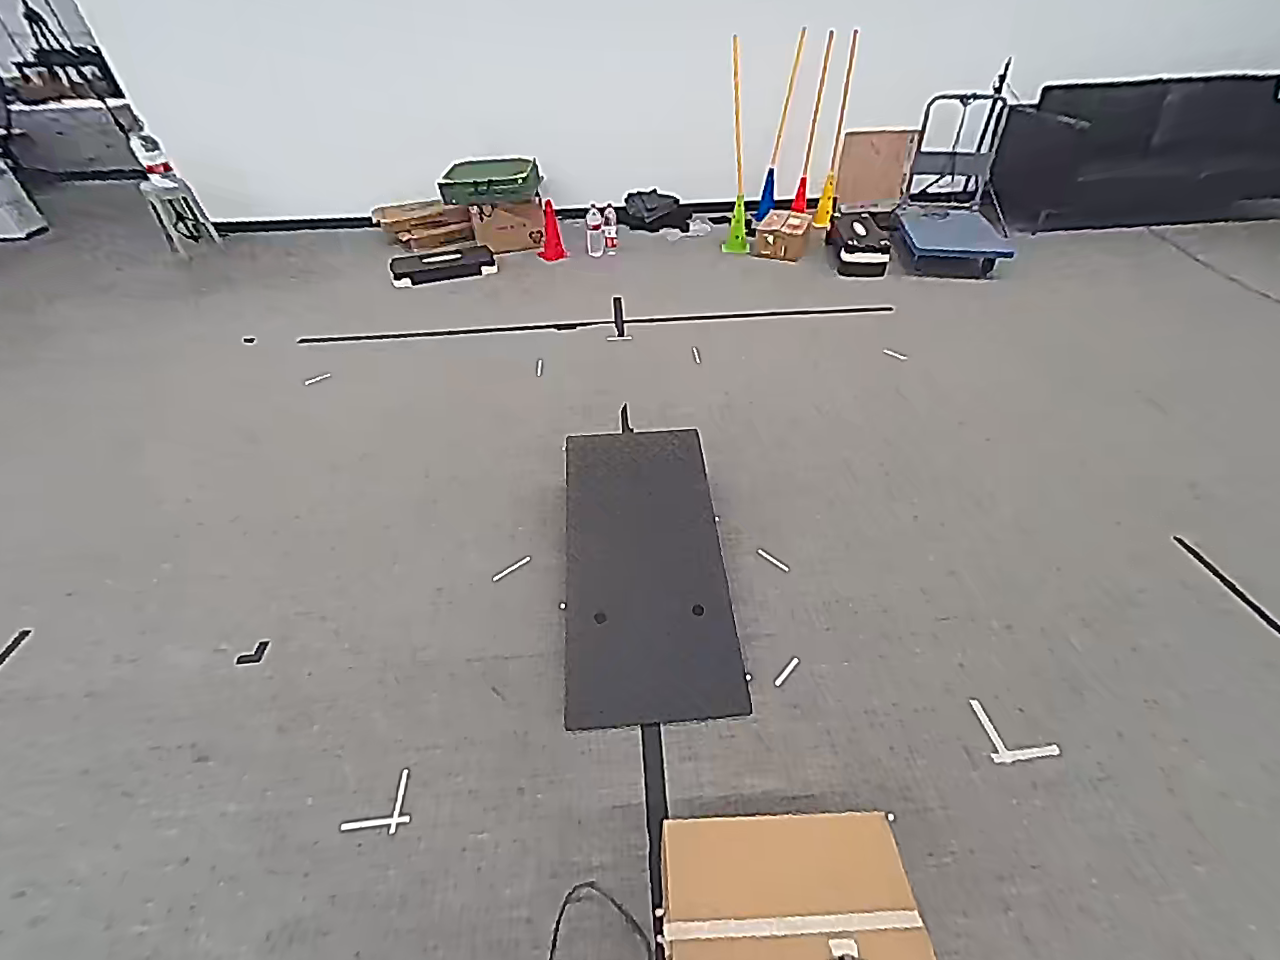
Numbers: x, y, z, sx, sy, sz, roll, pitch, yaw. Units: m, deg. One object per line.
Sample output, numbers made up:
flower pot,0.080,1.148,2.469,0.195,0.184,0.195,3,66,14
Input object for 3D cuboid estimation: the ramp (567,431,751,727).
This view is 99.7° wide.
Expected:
ramp,0.017,0.231,1.706,0.509,0.206,0.991,-4,43,-4

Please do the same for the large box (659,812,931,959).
large box,0.246,0.822,0.958,0.408,0.320,0.320,-1,42,-1
